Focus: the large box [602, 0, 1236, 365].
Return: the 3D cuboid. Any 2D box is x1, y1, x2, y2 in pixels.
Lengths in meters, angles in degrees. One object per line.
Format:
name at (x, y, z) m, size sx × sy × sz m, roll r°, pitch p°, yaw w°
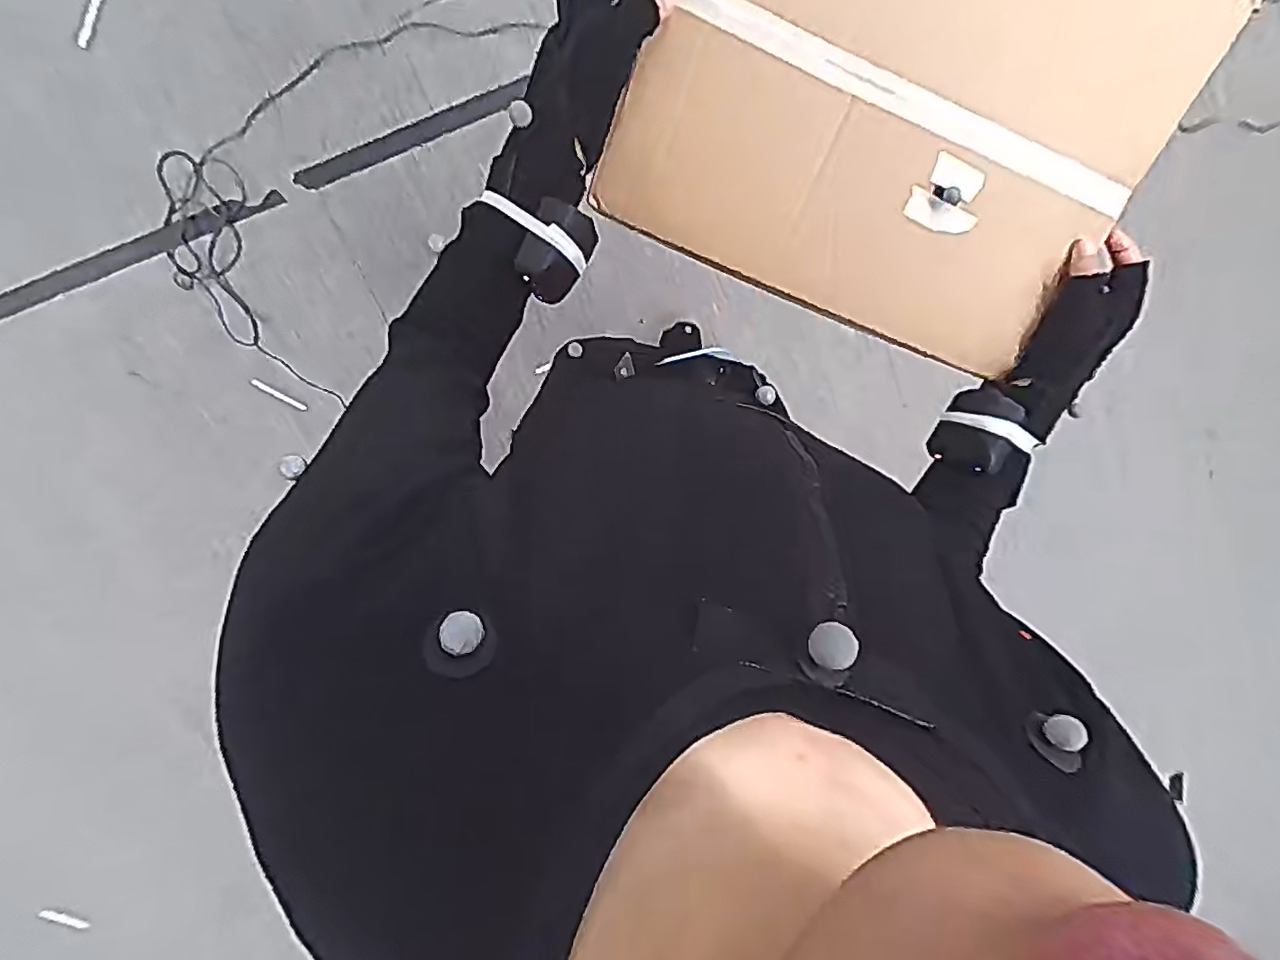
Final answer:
large box at (0.203, -0.359, 0.558) m, size 0.408 × 0.320 × 0.320 m, roll 20°, pitch 113°, yaw -8°
